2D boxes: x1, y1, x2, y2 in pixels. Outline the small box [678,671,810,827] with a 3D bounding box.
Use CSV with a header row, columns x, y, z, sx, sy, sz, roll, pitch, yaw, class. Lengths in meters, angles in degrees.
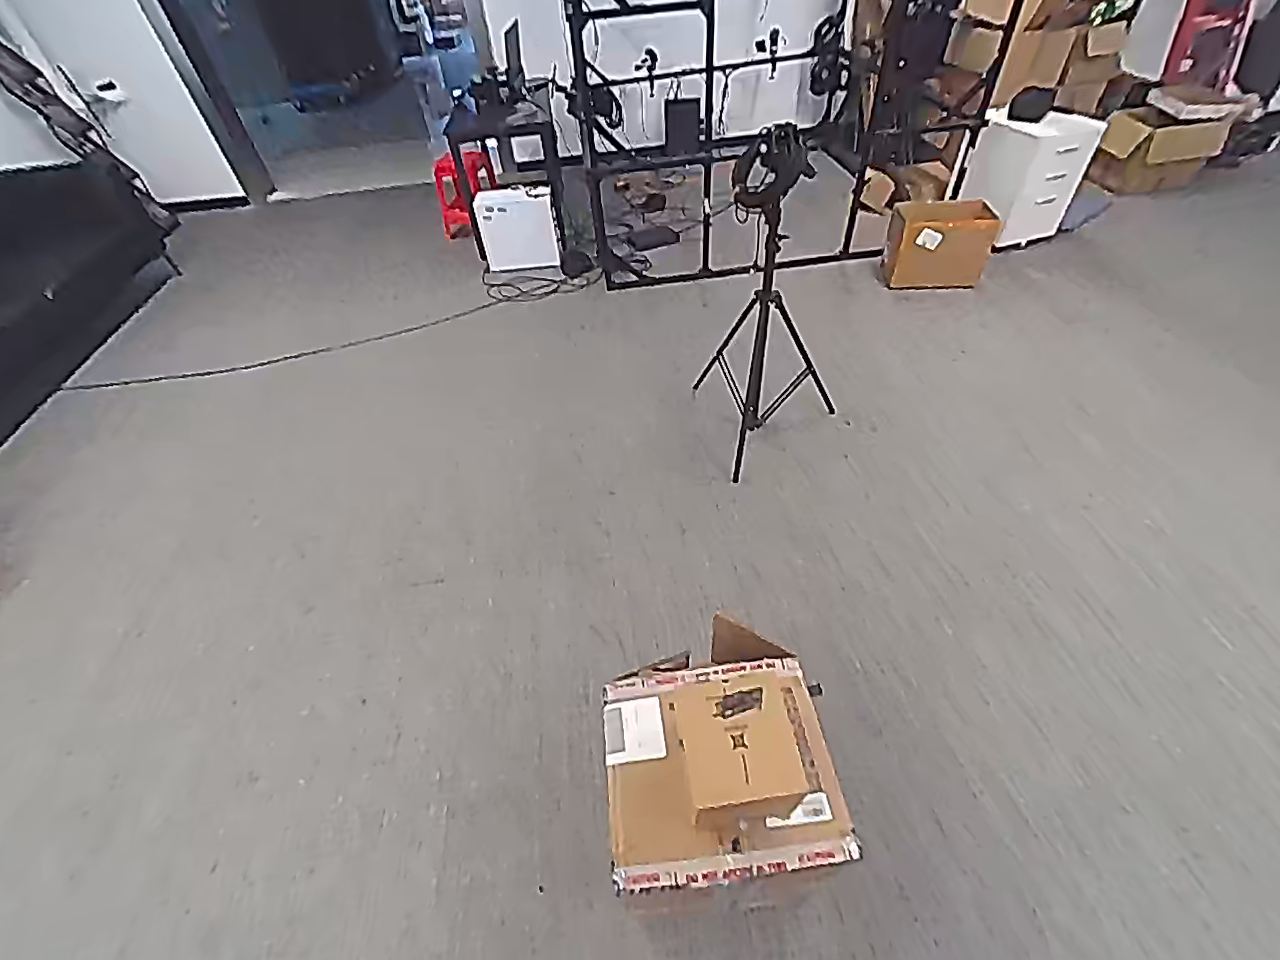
x,y,z,sx,sy,sz,roll,pitch,yaw,class
0.153,0.434,0.870,0.168,0.176,0.179,-8,49,-2,small box
